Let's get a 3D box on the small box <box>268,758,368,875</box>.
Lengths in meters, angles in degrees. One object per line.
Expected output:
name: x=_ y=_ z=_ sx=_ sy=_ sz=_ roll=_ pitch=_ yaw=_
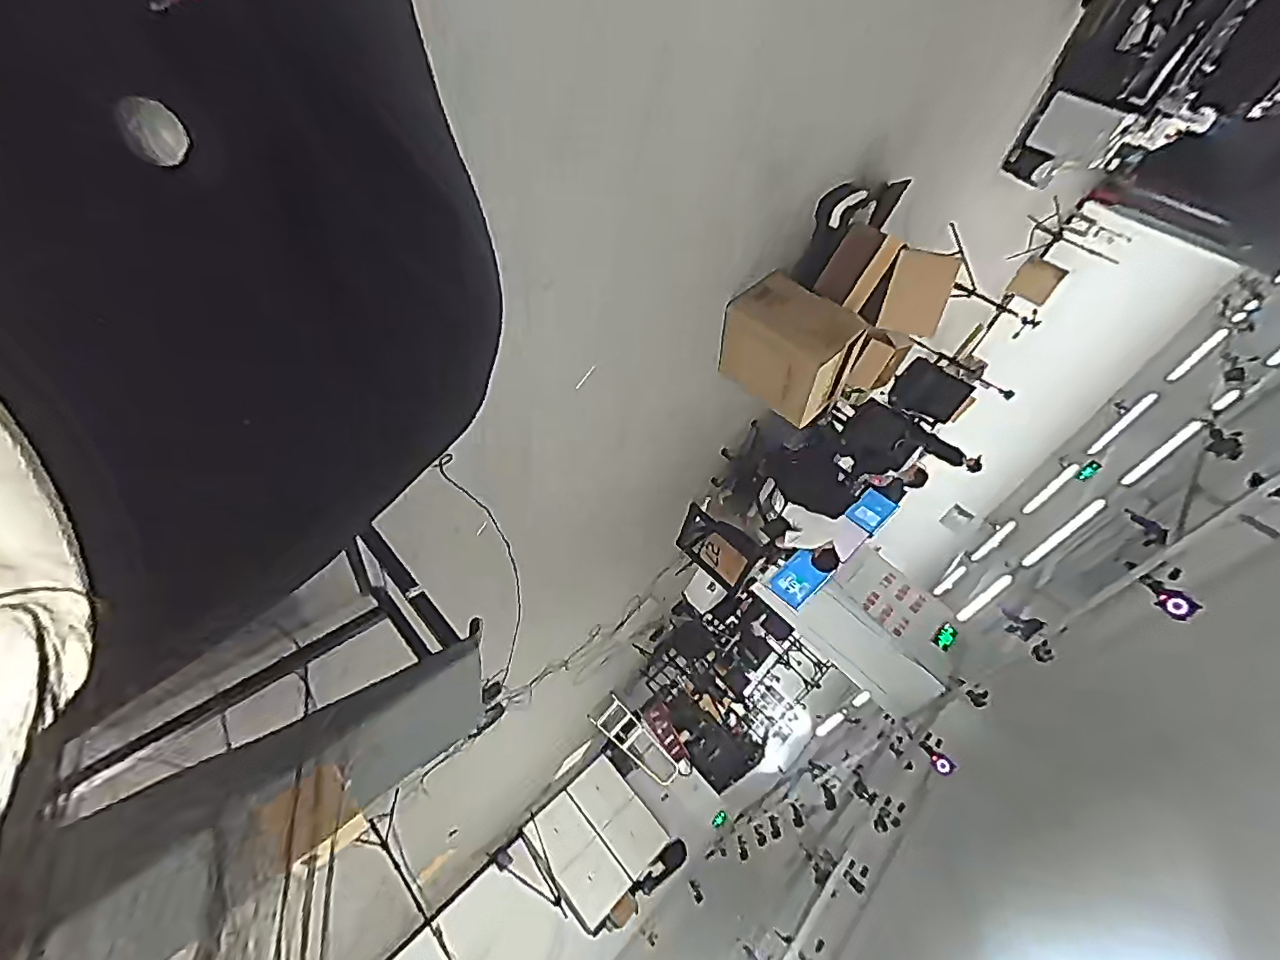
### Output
small box: x=-0.843 y=0.876 z=1.414 sx=0.179 sy=0.176 sz=0.168 roll=-27 pitch=151 yaw=-39
